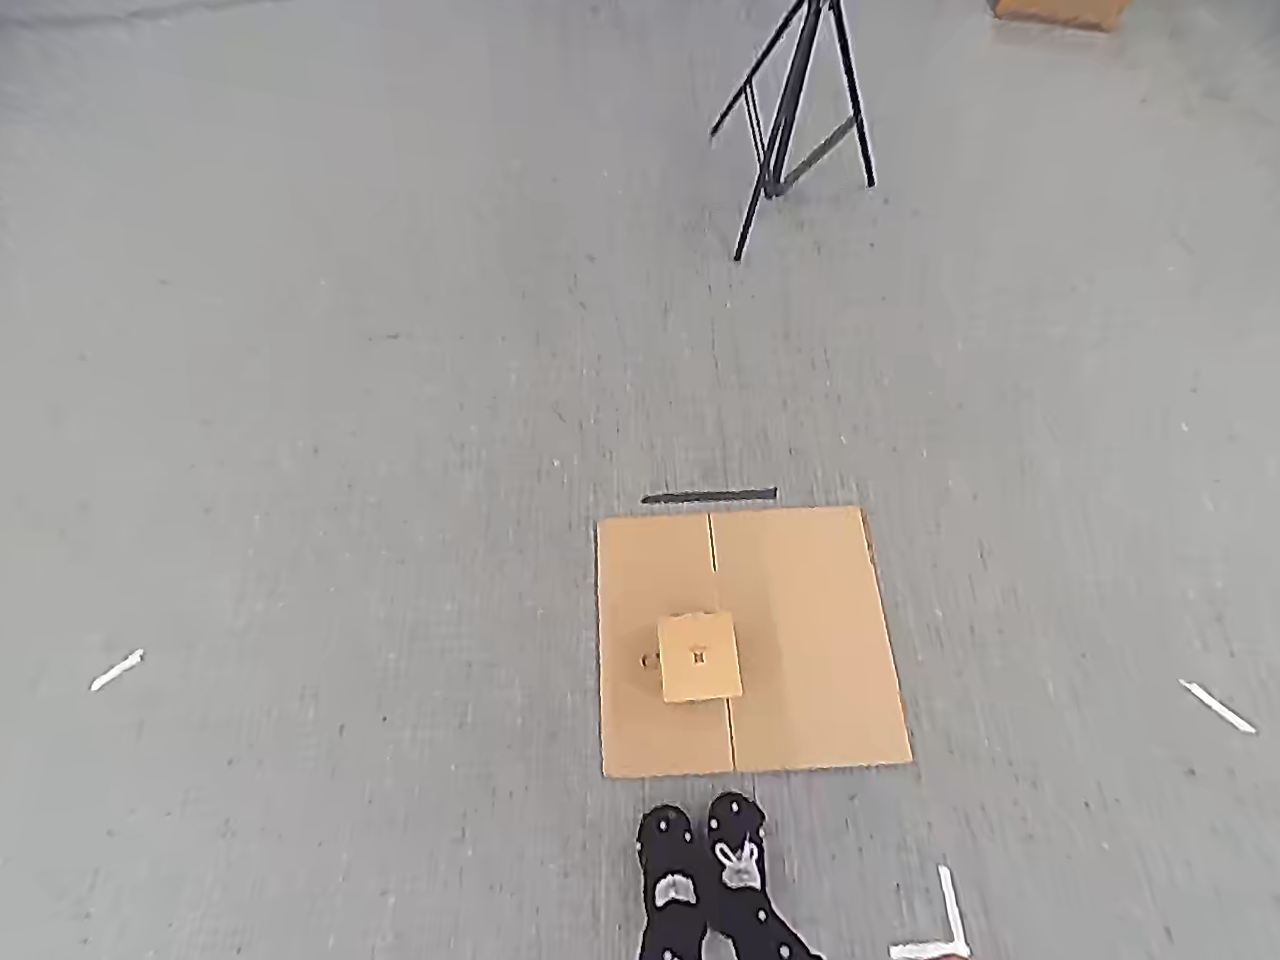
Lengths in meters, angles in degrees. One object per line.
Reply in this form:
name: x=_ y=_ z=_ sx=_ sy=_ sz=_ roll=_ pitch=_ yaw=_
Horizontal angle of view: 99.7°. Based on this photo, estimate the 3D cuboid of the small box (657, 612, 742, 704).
small box: x=0.127 y=0.401 z=1.215 sx=0.168 sy=0.176 sz=0.179 roll=-5 pitch=68 yaw=-1
